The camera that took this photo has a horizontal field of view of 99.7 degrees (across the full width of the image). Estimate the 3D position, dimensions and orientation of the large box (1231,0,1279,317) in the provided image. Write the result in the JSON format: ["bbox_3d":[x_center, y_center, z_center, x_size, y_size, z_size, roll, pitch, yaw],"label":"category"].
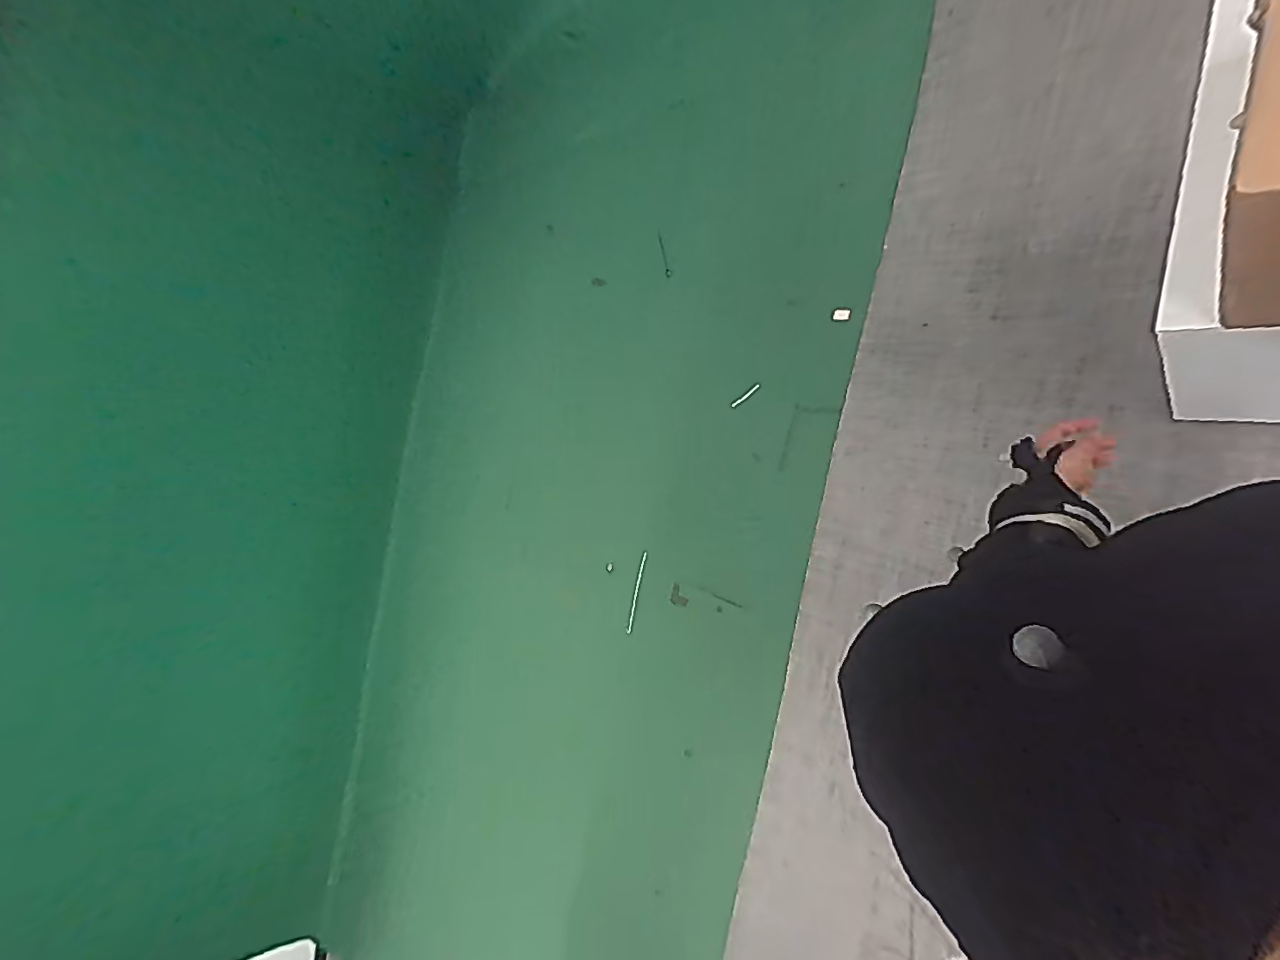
[{"bbox_3d":[0.682,-0.312,0.328,0.408,0.320,0.320,11,93,46],"label":"large box"}]
